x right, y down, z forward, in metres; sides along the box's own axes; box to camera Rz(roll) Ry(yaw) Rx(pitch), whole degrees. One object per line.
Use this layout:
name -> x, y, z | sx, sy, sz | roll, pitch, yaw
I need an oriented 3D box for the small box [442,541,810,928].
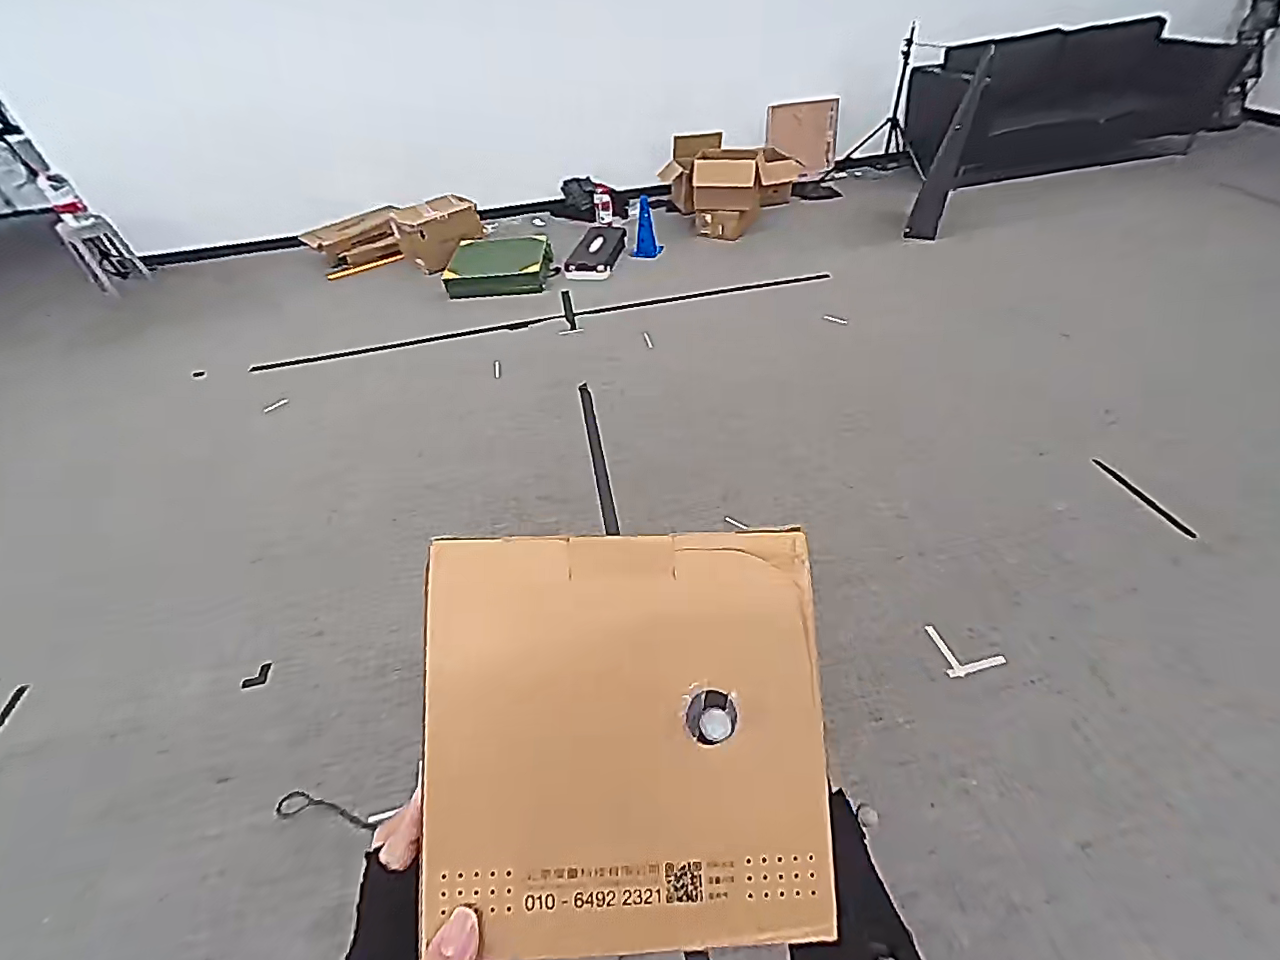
small box -> -0.007, 0.126, 0.323 | 0.168, 0.179, 0.176 | -2, 83, -1
